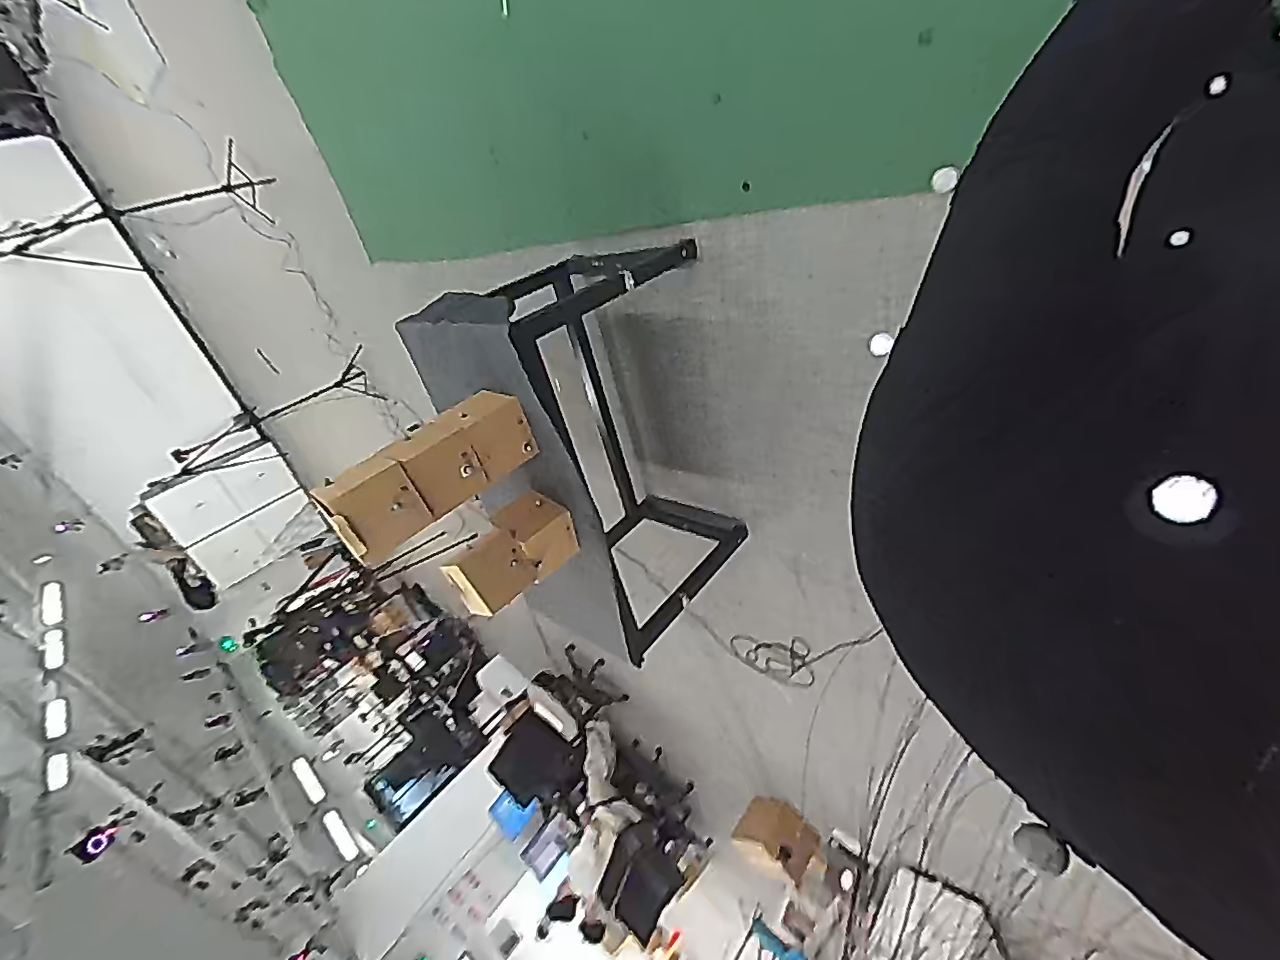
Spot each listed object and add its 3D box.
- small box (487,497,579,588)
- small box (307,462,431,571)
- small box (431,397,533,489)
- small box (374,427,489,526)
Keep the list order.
[{"bbox_3d":[-0.304,0.172,1.557,0.179,0.176,0.168,24,138,36],"label":"small box"},{"bbox_3d":[-0.605,0.072,1.217,0.179,0.176,0.168,10,131,47],"label":"small box"},{"bbox_3d":[-0.398,-0.103,1.401,0.179,0.176,0.168,17,135,43],"label":"small box"},{"bbox_3d":[-0.501,-0.016,1.312,0.179,0.176,0.168,12,132,44],"label":"small box"}]
